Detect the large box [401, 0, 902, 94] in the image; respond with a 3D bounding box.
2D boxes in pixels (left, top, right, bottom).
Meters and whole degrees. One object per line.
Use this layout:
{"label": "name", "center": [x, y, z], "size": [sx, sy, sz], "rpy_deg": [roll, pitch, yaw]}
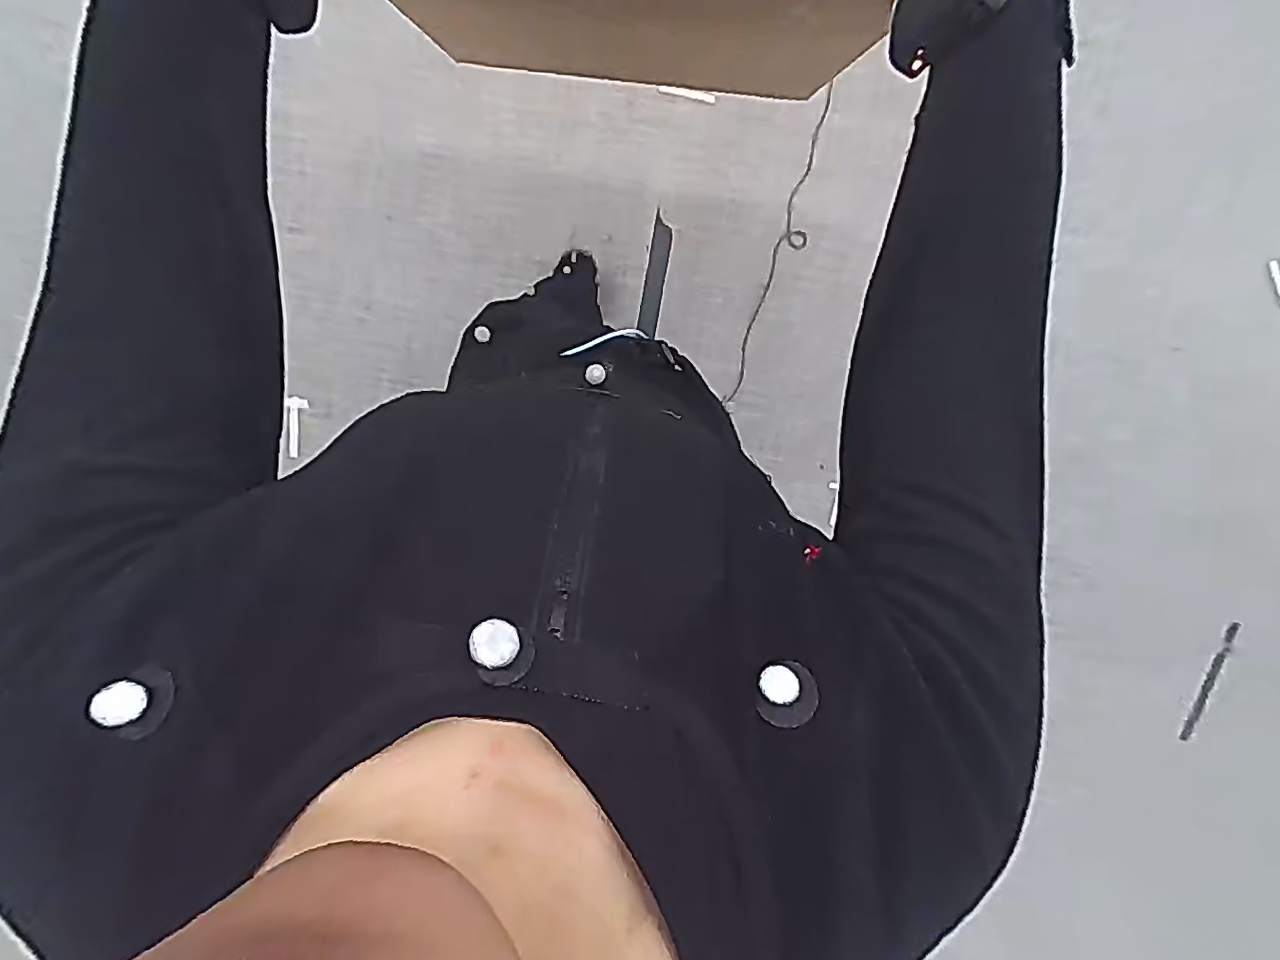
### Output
{"label": "large box", "center": [0.004, -0.536, 0.425], "size": [0.408, 0.320, 0.320], "rpy_deg": [4, 115, -2]}
